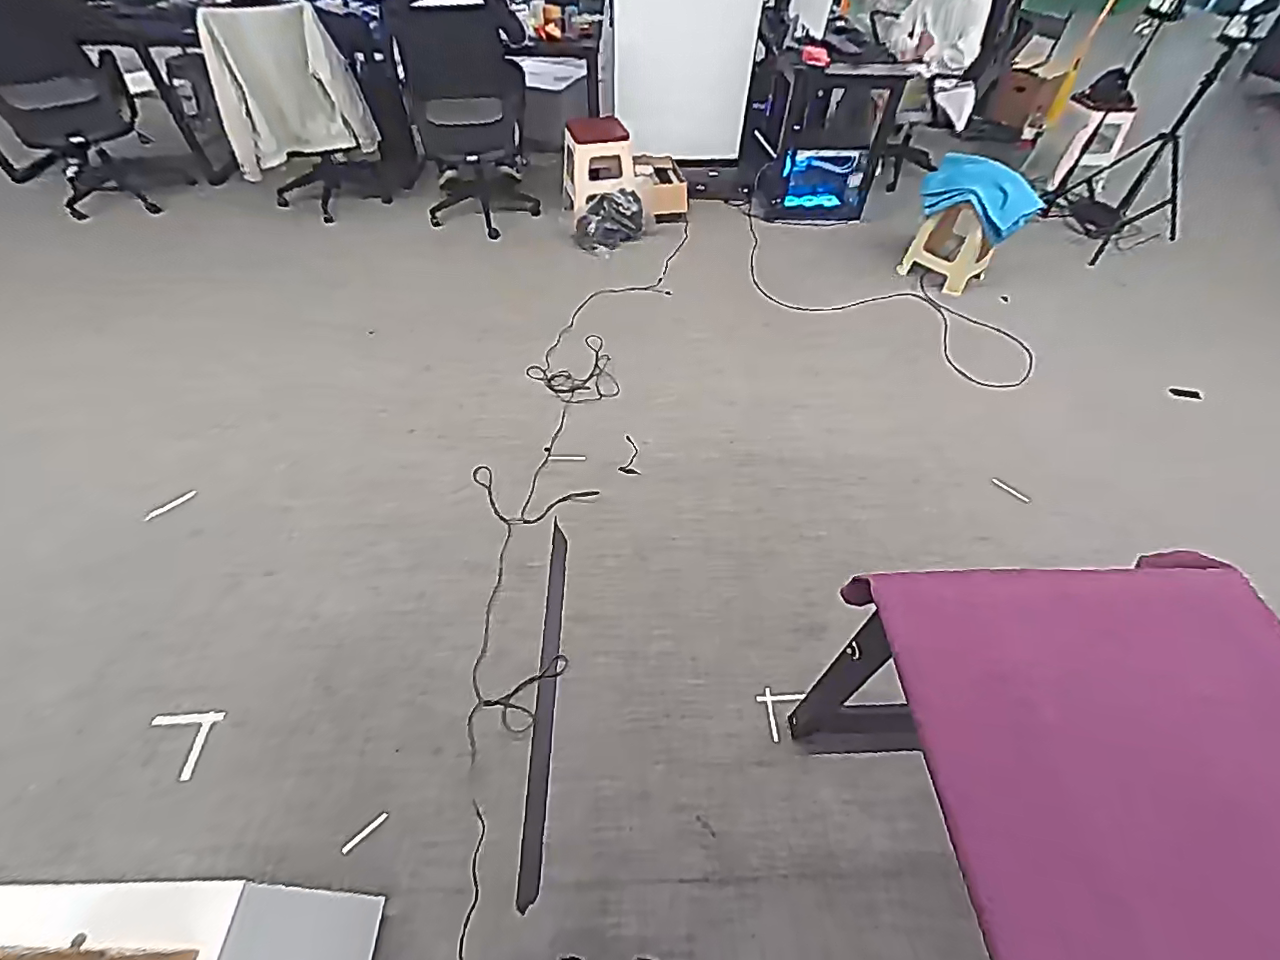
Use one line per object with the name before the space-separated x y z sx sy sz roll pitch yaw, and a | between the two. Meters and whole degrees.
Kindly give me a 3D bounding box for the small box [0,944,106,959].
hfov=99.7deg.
small box | -0.616 0.485 0.431 0.179 0.176 0.168 2 51 -1
